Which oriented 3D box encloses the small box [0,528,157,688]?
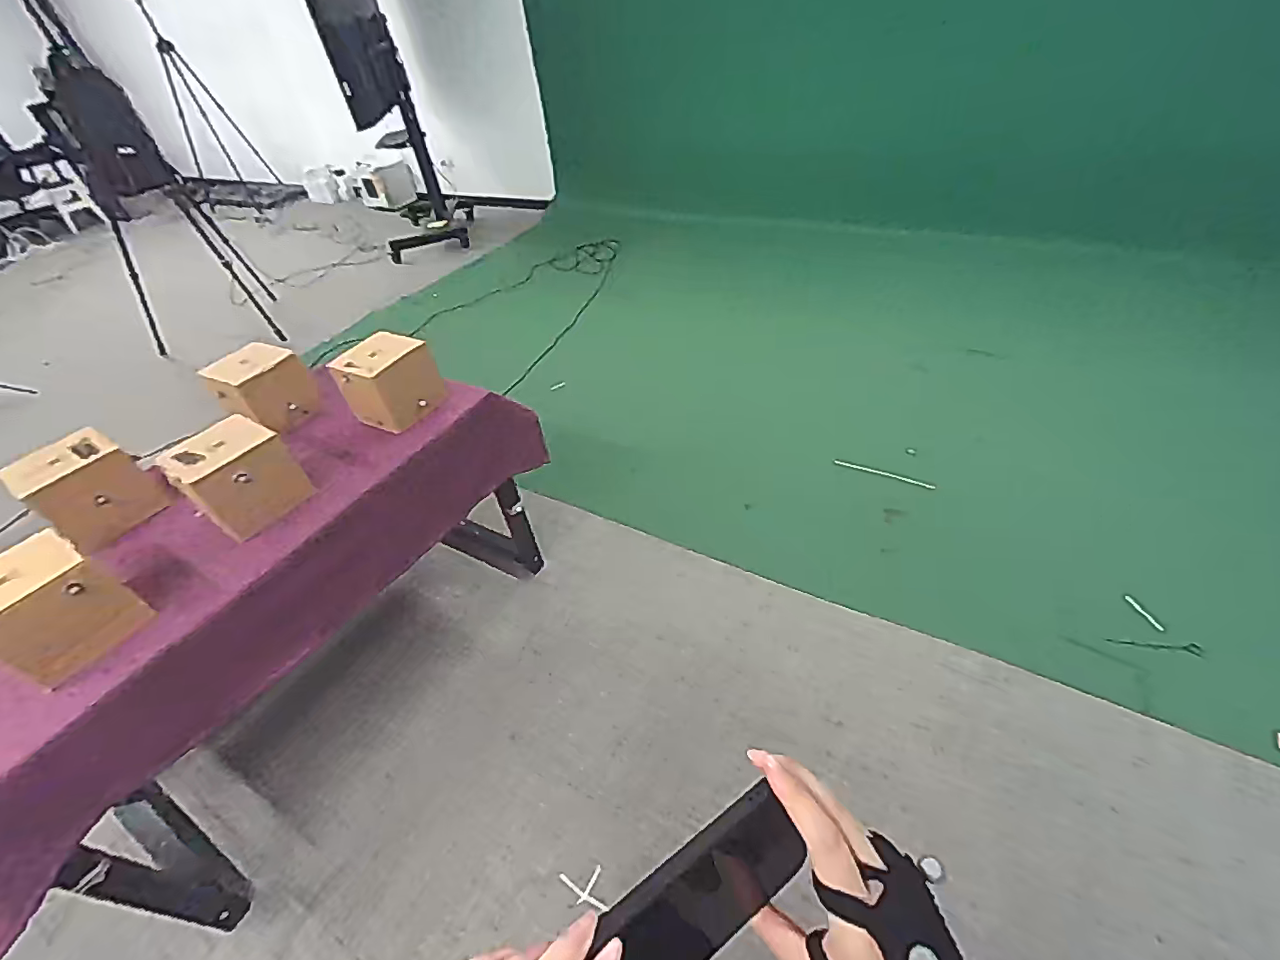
[{"bbox_3d":[-1.002,0.220,0.925,0.168,0.176,0.179,19,48,27],"label":"small box"}]

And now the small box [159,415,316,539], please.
[{"bbox_3d":[-0.836,-0.006,1.139,0.168,0.176,0.179,21,49,28],"label":"small box"}]

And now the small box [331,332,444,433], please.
[{"bbox_3d":[-0.620,-0.246,1.359,0.168,0.176,0.179,17,48,26],"label":"small box"}]

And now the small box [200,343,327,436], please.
[{"bbox_3d":[-0.964,-0.231,1.397,0.179,0.176,0.168,16,49,24],"label":"small box"}]
